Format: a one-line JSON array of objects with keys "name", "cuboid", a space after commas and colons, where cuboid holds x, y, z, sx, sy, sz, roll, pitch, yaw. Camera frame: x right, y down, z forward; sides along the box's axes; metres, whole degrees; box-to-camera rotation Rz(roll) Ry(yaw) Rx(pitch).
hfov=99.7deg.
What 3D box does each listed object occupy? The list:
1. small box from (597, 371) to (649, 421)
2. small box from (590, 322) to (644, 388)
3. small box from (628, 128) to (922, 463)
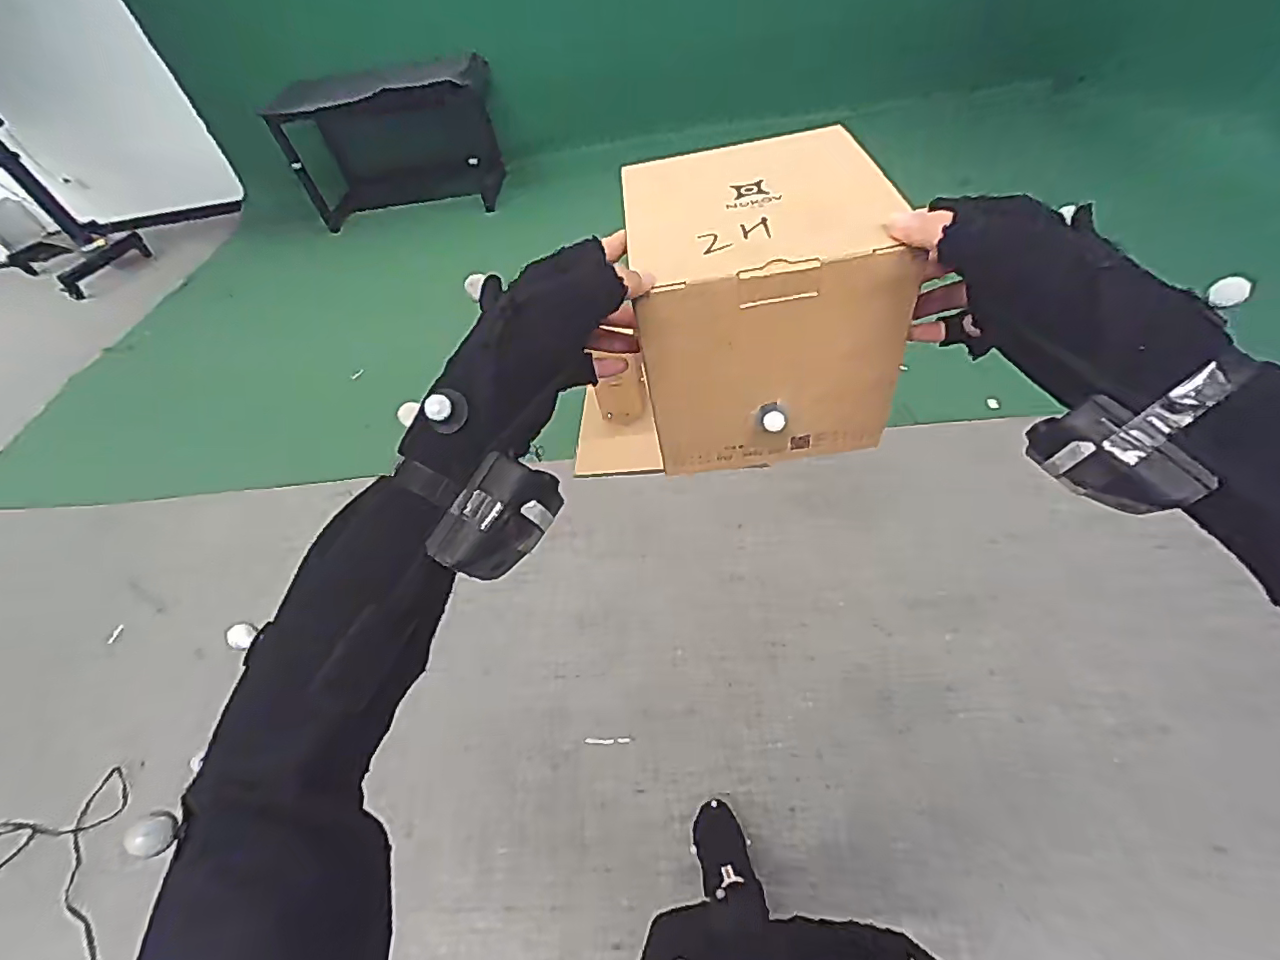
[{"name": "small box", "cuboid": [-0.060, -0.344, 2.109, 0.168, 0.176, 0.179, -3, 48, 10]}, {"name": "small box", "cuboid": [-0.079, -0.459, 1.996, 0.168, 0.176, 0.179, -2, 49, 10]}, {"name": "small box", "cuboid": [0.085, -0.137, 0.418, 0.168, 0.176, 0.179, -8, 50, 6]}]
